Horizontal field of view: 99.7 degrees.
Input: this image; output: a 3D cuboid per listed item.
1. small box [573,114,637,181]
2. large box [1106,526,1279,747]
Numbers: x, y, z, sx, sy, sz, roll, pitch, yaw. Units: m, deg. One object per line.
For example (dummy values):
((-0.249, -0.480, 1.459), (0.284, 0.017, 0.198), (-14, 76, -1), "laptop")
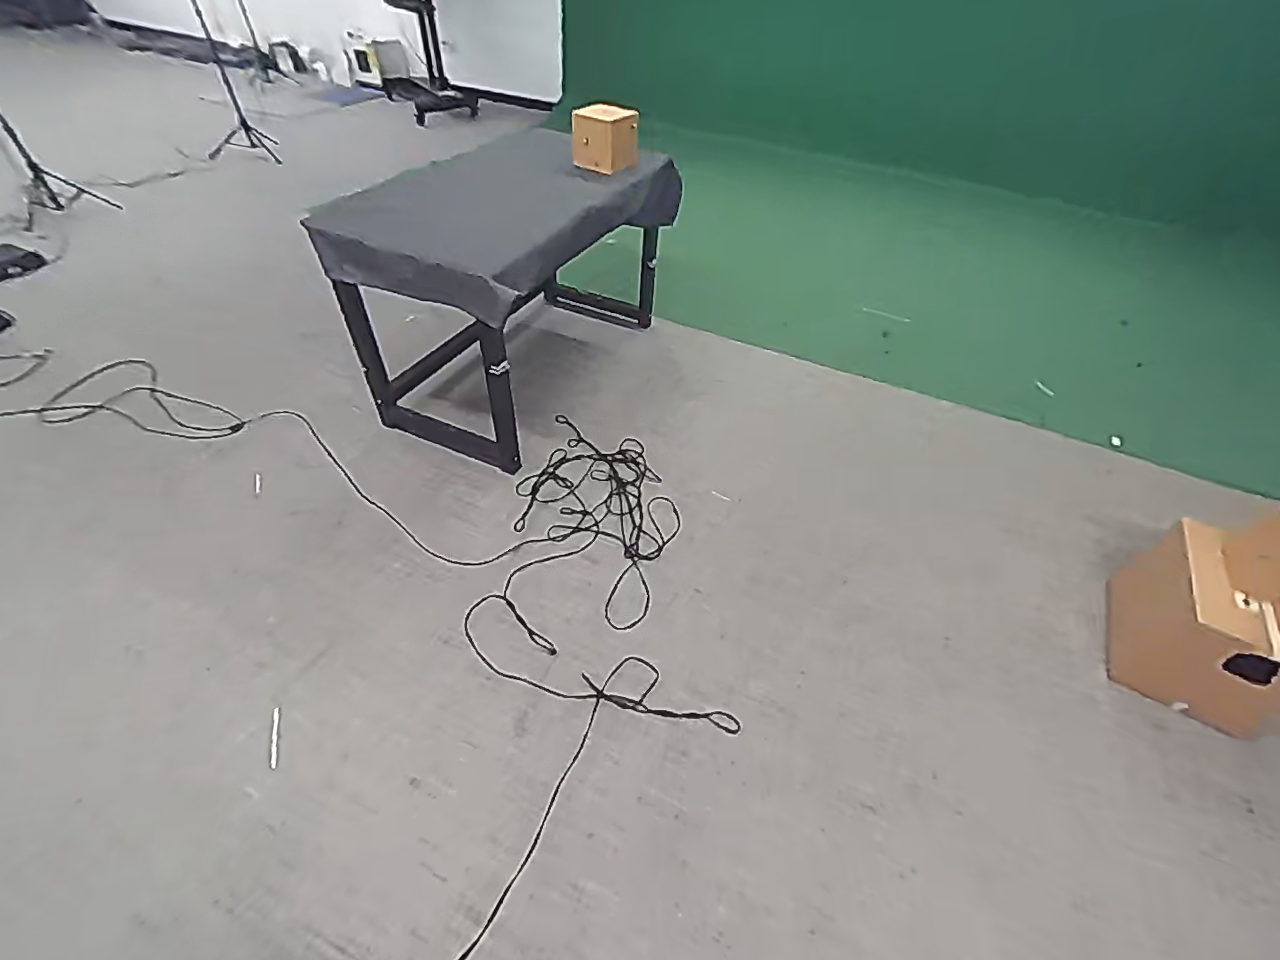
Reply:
((-0.123, -1.192, 1.941), (0.168, 0.176, 0.179), (25, 48, 20), "small box")
((1.521, 0.408, 1.444), (0.320, 0.320, 0.408), (25, 50, 20), "large box")
